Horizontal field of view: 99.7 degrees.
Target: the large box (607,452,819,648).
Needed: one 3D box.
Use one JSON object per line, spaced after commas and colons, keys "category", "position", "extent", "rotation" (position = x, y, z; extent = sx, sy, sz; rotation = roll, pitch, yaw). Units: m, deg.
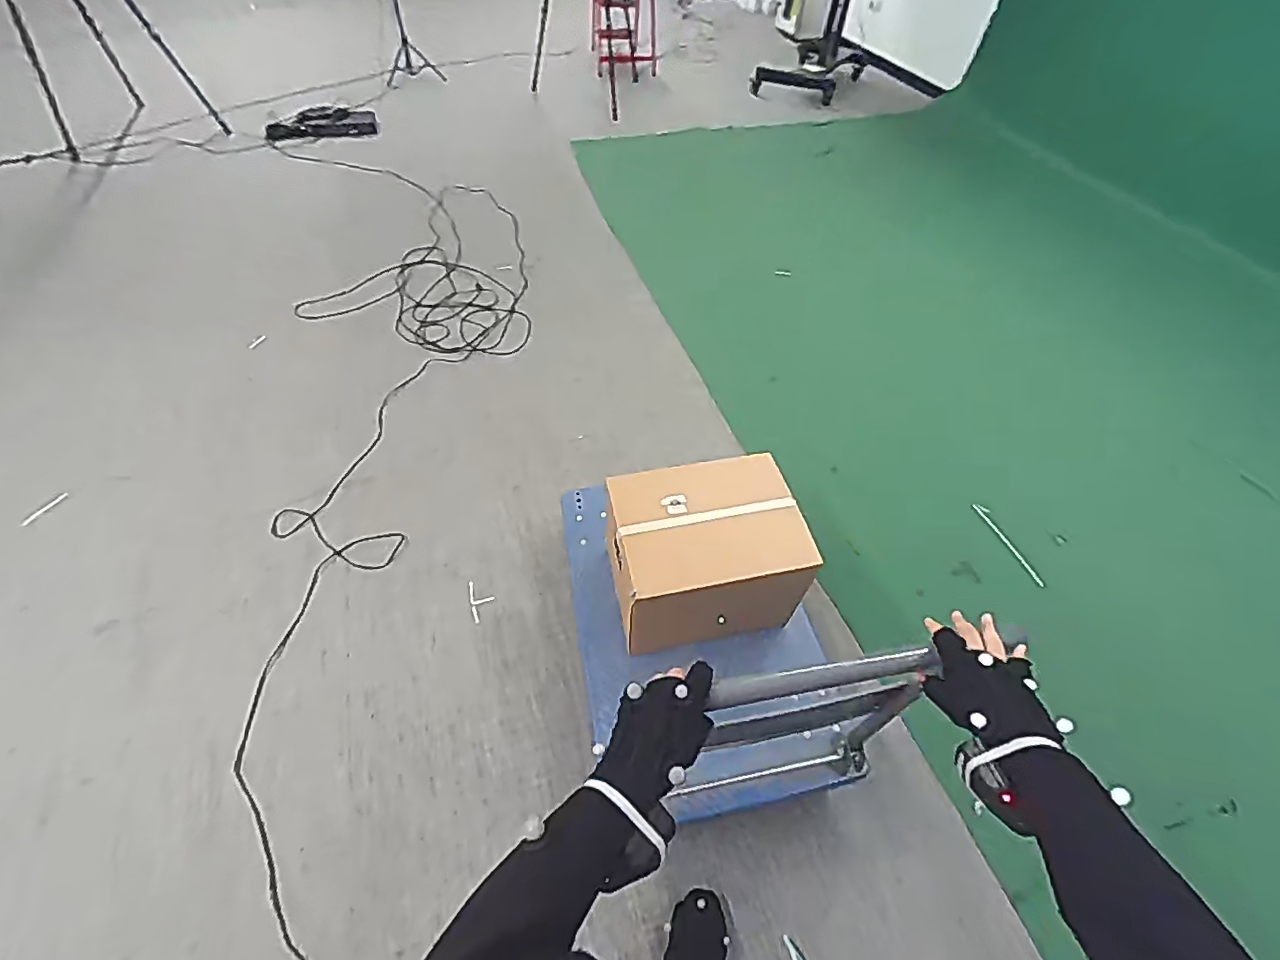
{"category": "large box", "position": [0.148, 0.173, 1.305], "extent": [0.408, 0.320, 0.320], "rotation": [-10, 53, -9]}
